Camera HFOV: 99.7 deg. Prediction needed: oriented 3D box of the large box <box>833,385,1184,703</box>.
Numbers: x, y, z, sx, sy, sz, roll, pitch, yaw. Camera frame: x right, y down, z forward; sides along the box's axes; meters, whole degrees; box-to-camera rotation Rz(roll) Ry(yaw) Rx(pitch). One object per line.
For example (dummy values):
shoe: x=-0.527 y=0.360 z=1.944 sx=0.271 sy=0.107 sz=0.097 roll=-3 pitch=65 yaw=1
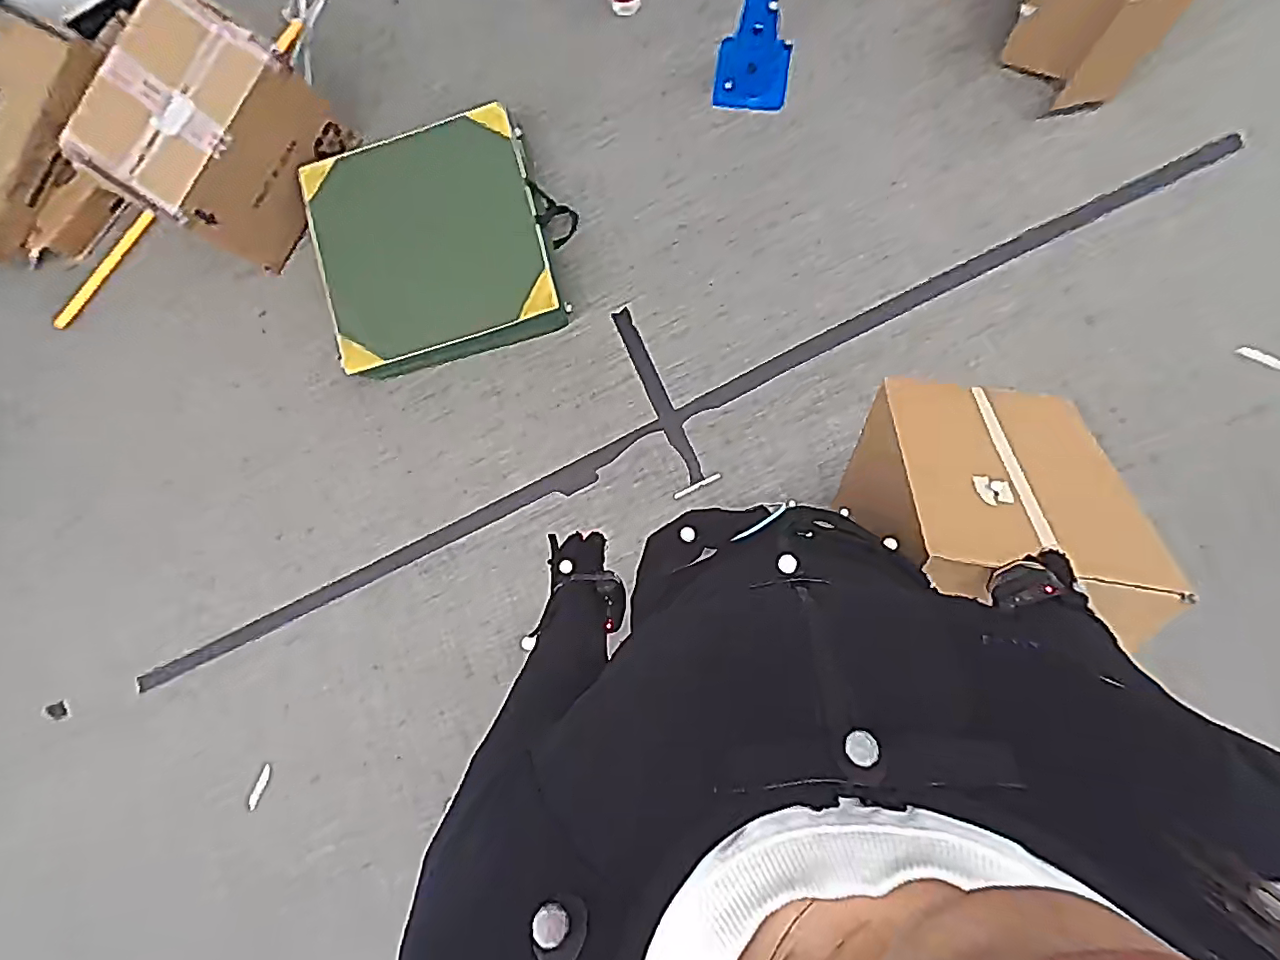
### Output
large box: x=0.537 y=0.096 z=0.910 sx=0.320 sy=0.320 sz=0.408 roll=8 pitch=46 yaw=6
